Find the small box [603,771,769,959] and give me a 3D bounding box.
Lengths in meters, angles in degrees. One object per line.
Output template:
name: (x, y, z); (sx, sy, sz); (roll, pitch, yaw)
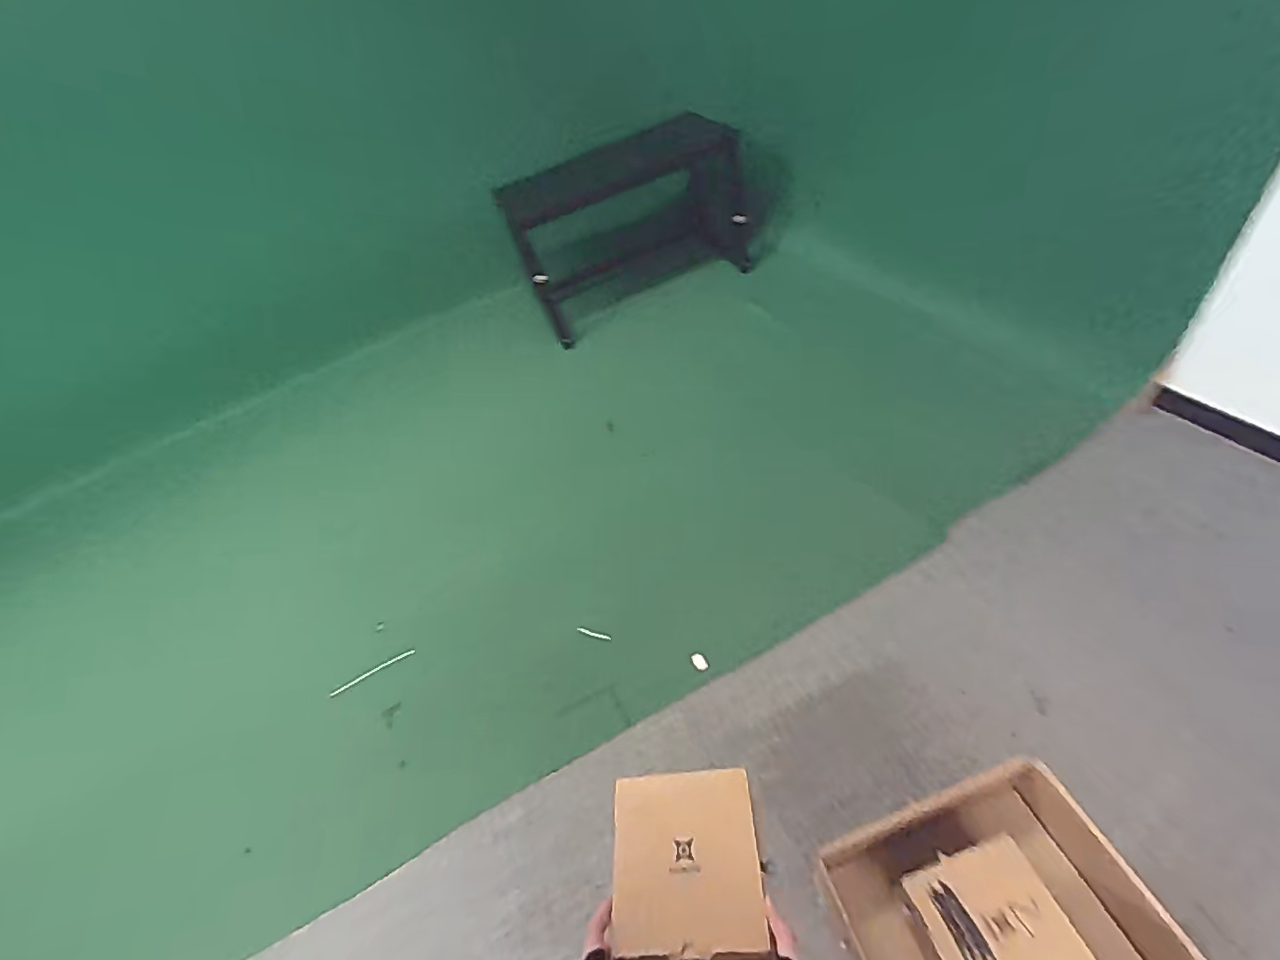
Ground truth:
small box: (0.057, 0.483, 0.653); (0.168, 0.176, 0.179); (-10, 40, 7)
